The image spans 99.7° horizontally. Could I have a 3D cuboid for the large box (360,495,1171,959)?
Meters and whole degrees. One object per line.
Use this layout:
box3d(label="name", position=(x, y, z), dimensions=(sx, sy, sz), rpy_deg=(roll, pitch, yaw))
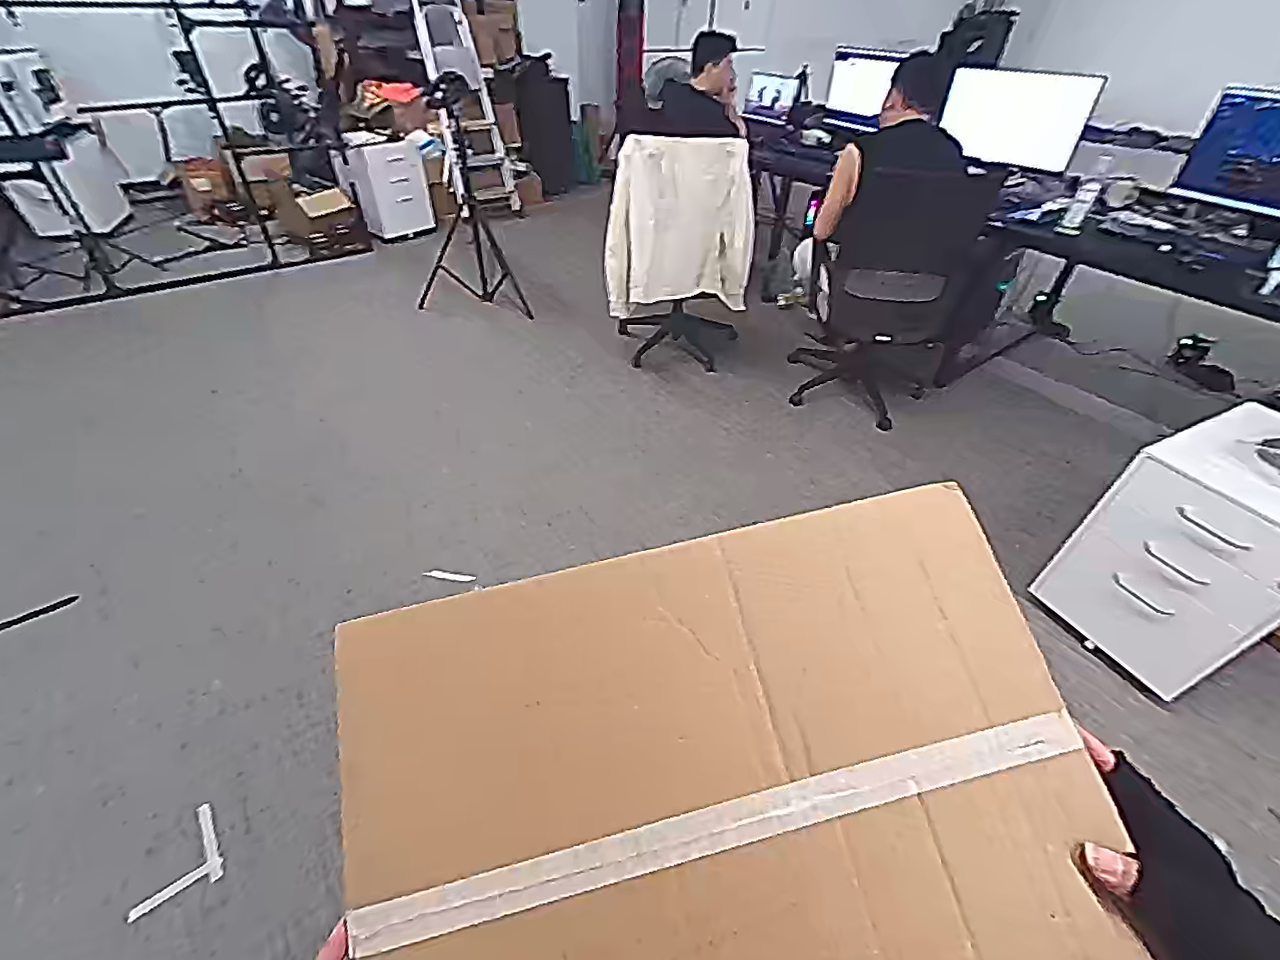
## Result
box3d(label="large box", position=(0.053, 0.246, 0.437), dimensions=(0.408, 0.320, 0.320), rpy_deg=(-13, 71, -4))
